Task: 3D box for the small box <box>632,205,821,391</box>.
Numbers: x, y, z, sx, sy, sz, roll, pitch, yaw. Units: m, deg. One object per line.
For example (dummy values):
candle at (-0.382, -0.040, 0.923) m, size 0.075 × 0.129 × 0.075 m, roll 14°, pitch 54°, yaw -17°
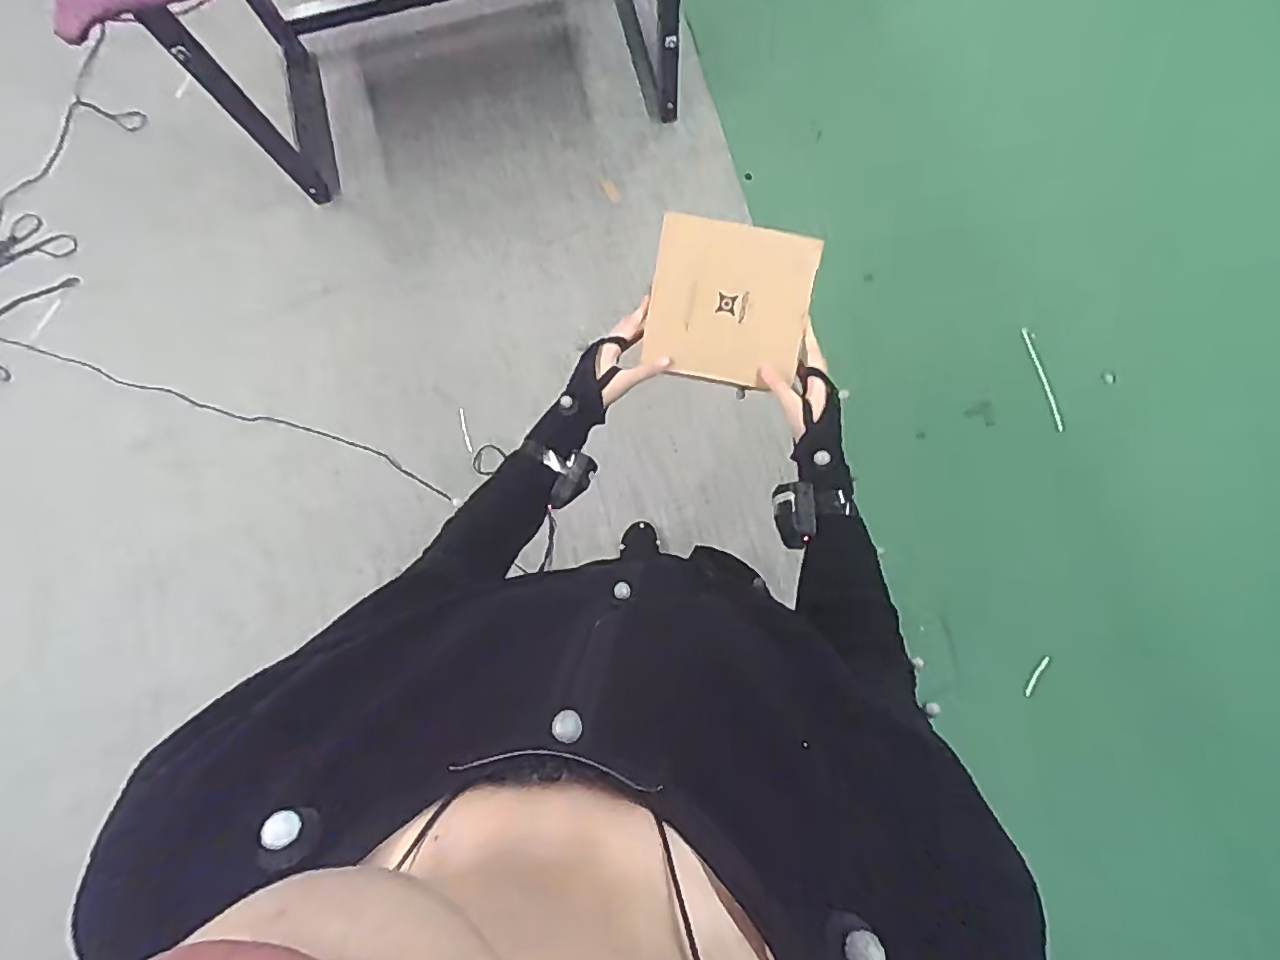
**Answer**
small box at (0.092, -0.206, 0.656) m, size 0.179 × 0.176 × 0.168 m, roll 11°, pitch 99°, yaw 0°
